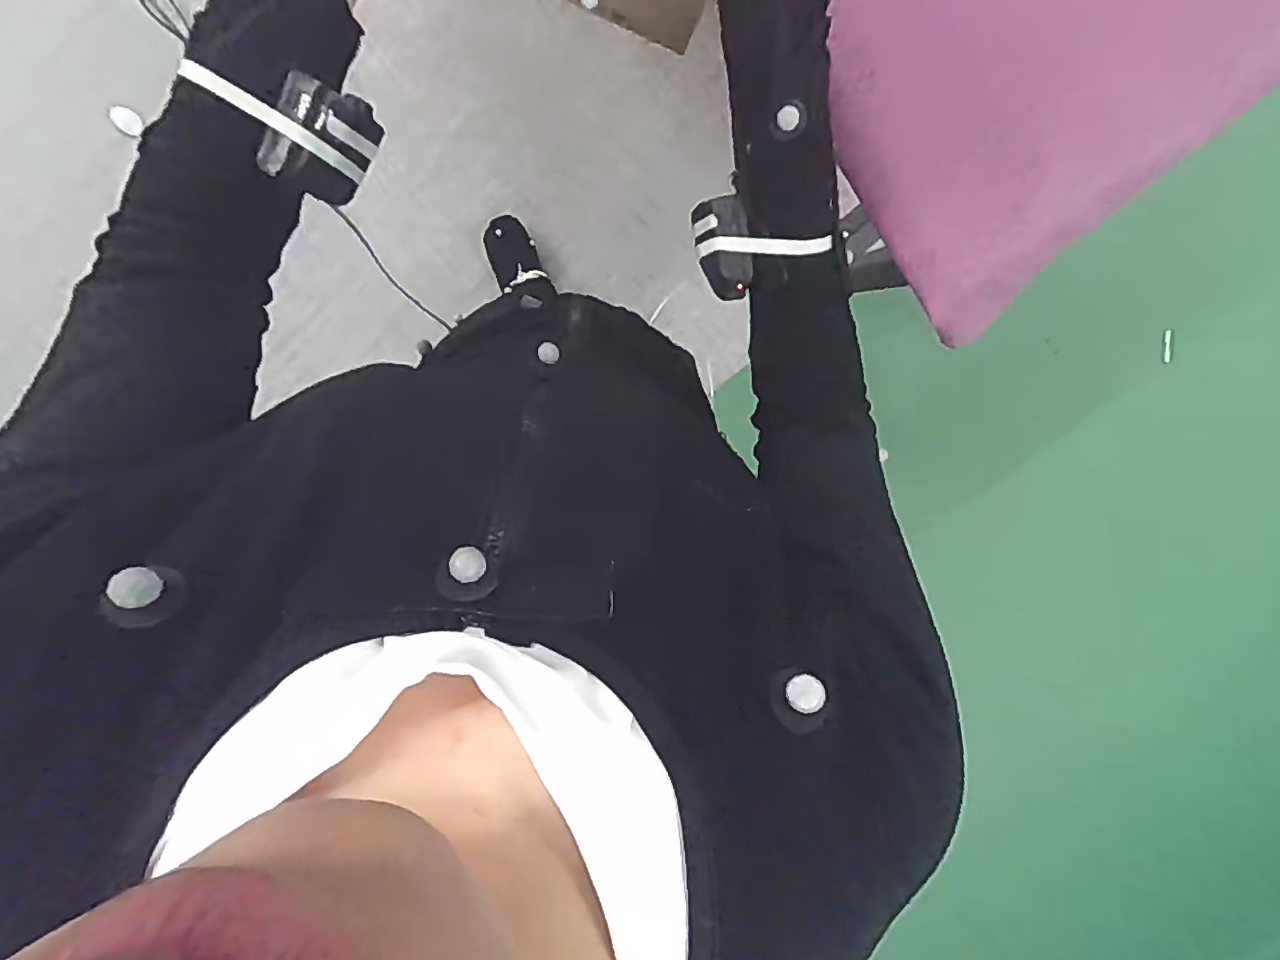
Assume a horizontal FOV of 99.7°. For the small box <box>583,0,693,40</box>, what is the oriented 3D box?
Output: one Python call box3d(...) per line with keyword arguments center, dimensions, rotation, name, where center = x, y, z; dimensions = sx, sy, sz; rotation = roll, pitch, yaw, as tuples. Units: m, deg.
box3d(center=(-0.007, -0.444, 0.347), dimensions=(0.168, 0.176, 0.179), rotation=(19, 108, -11), name="small box")
